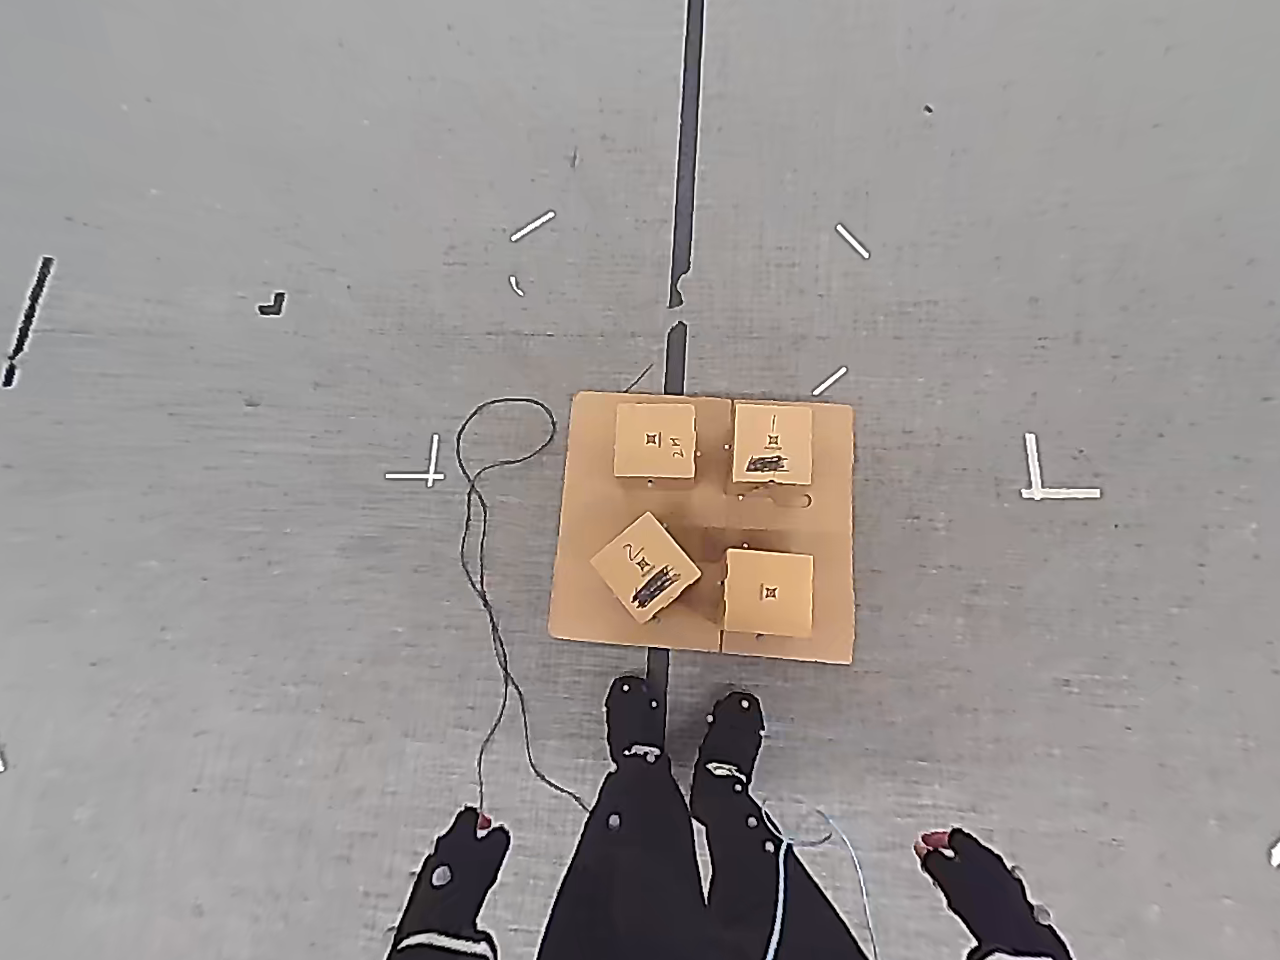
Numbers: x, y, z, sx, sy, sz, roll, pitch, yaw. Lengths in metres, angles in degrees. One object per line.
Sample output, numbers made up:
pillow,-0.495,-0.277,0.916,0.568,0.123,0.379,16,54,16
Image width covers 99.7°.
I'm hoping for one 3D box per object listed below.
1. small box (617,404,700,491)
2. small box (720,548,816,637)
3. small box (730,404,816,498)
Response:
small box,0.047,-0.070,1.249,0.179,0.176,0.168,2,79,4
small box,0.272,0.241,1.173,0.179,0.176,0.168,4,79,7
small box,0.297,-0.060,1.231,0.168,0.176,0.179,4,78,6
